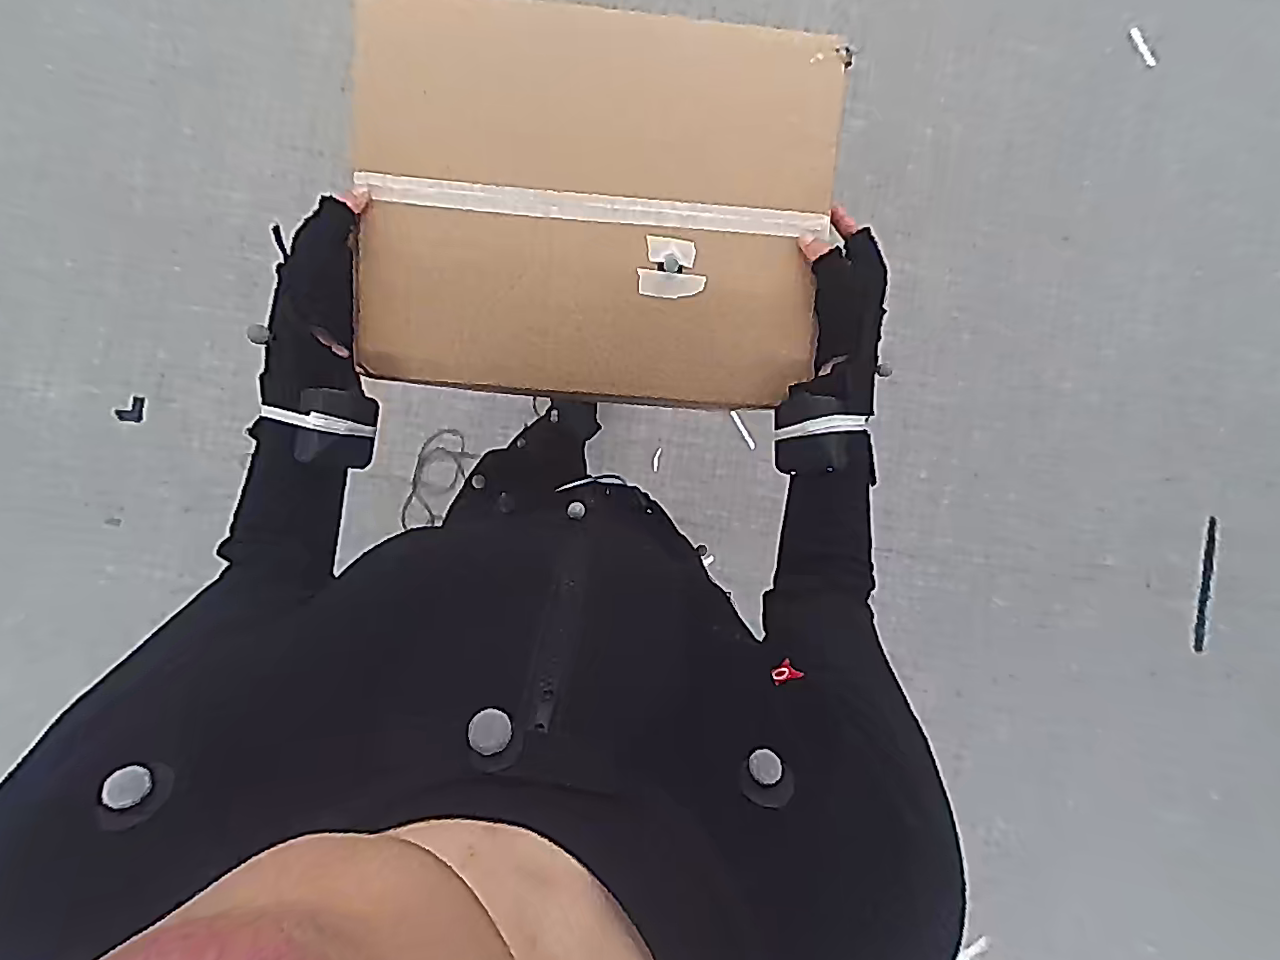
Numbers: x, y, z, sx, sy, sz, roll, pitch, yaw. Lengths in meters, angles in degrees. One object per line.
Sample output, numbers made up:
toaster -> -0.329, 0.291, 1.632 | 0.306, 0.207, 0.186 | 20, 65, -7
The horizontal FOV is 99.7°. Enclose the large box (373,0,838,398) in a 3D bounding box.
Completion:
large box -> -0.042, -0.265, 0.626 | 0.408, 0.320, 0.320 | 4, 98, -4
